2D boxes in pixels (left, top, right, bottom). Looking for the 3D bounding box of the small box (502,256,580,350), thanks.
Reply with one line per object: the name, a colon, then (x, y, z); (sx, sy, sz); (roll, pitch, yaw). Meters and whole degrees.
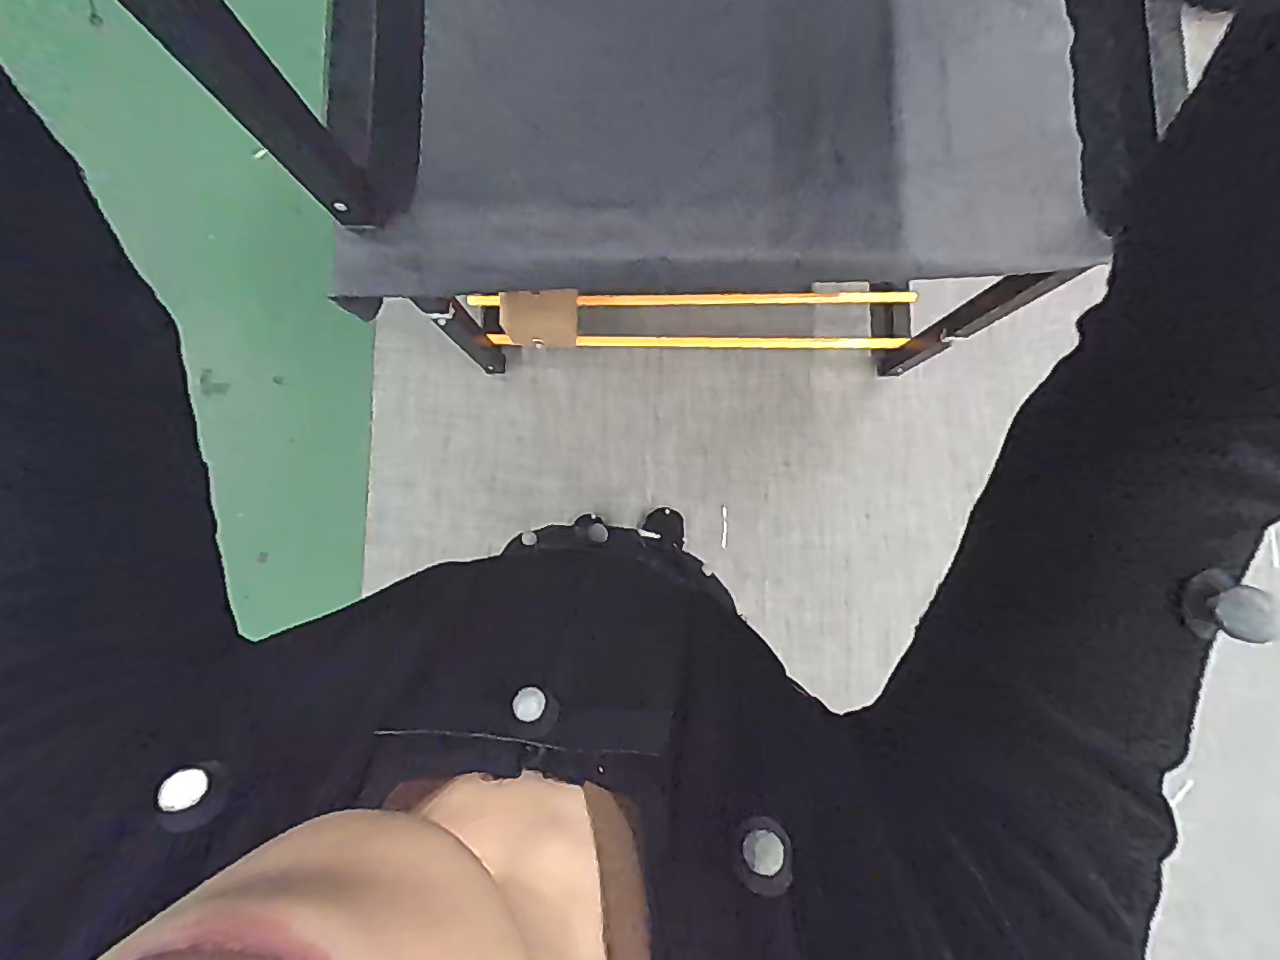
small box: (-0.243, -0.439, 1.359); (0.168, 0.176, 0.179); (0, 87, 0)
